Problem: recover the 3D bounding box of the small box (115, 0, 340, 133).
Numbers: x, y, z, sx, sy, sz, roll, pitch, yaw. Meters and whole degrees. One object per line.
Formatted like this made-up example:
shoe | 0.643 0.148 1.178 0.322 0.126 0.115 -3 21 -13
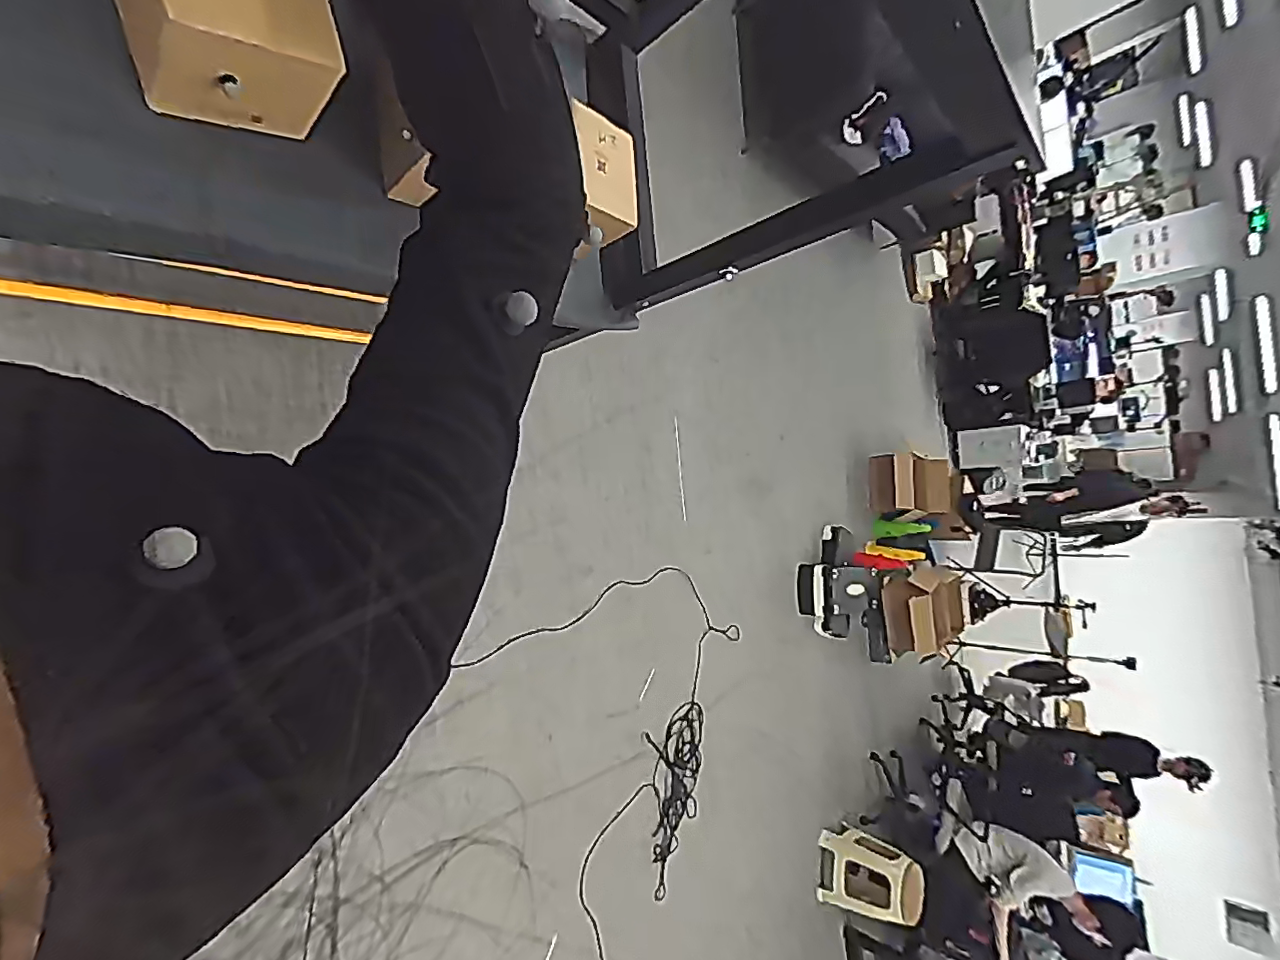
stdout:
small box | -0.473 -0.536 0.613 0.168 0.176 0.179 -20 100 -46
